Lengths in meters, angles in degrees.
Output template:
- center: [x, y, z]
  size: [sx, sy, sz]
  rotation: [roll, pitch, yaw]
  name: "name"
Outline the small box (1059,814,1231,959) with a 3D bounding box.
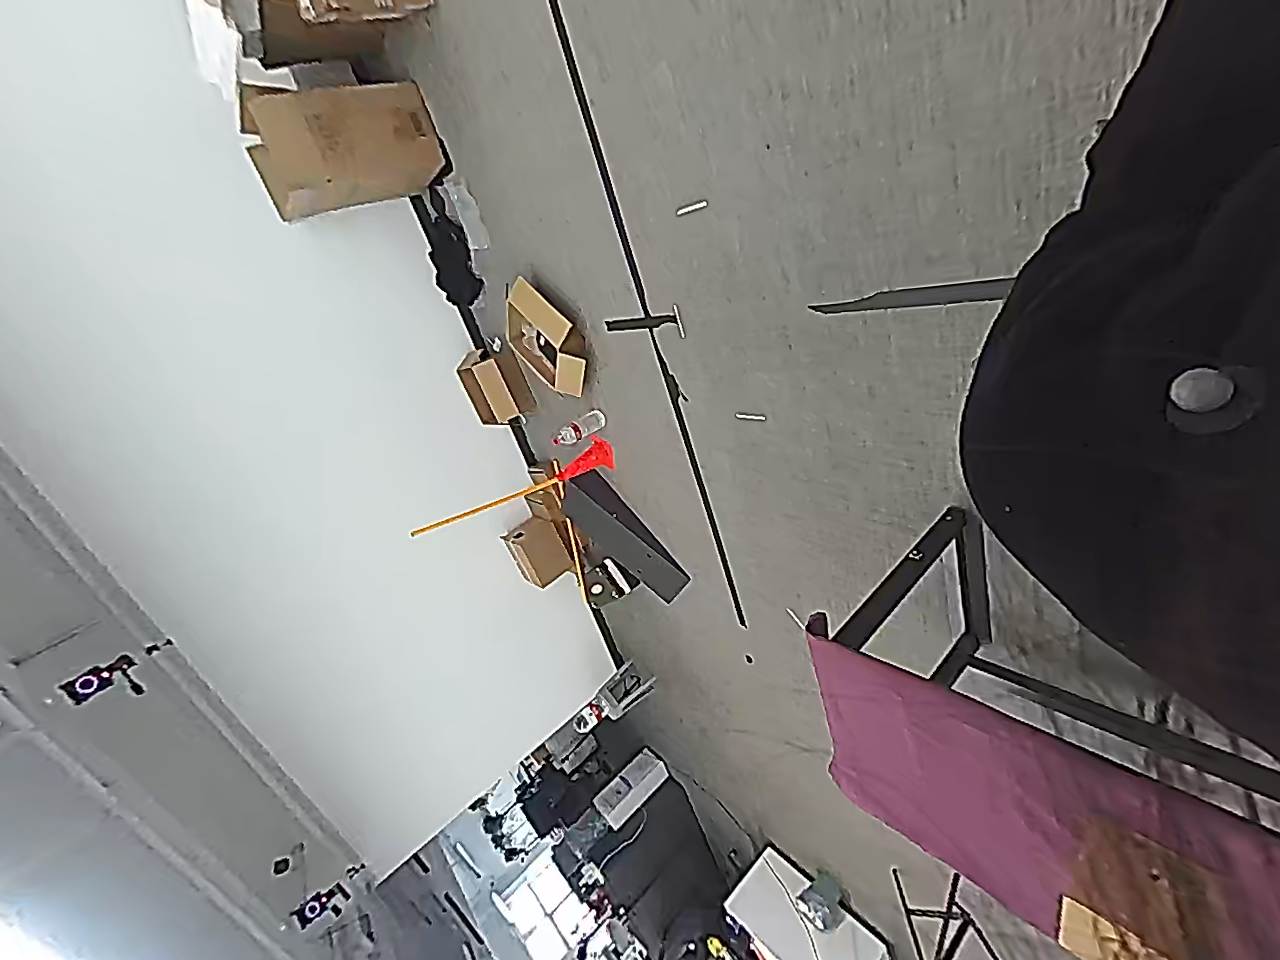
- center: [0.812, 0.700, 0.876]
  size: [0.168, 0.176, 0.179]
  rotation: [16, 133, 49]
  name: "small box"
